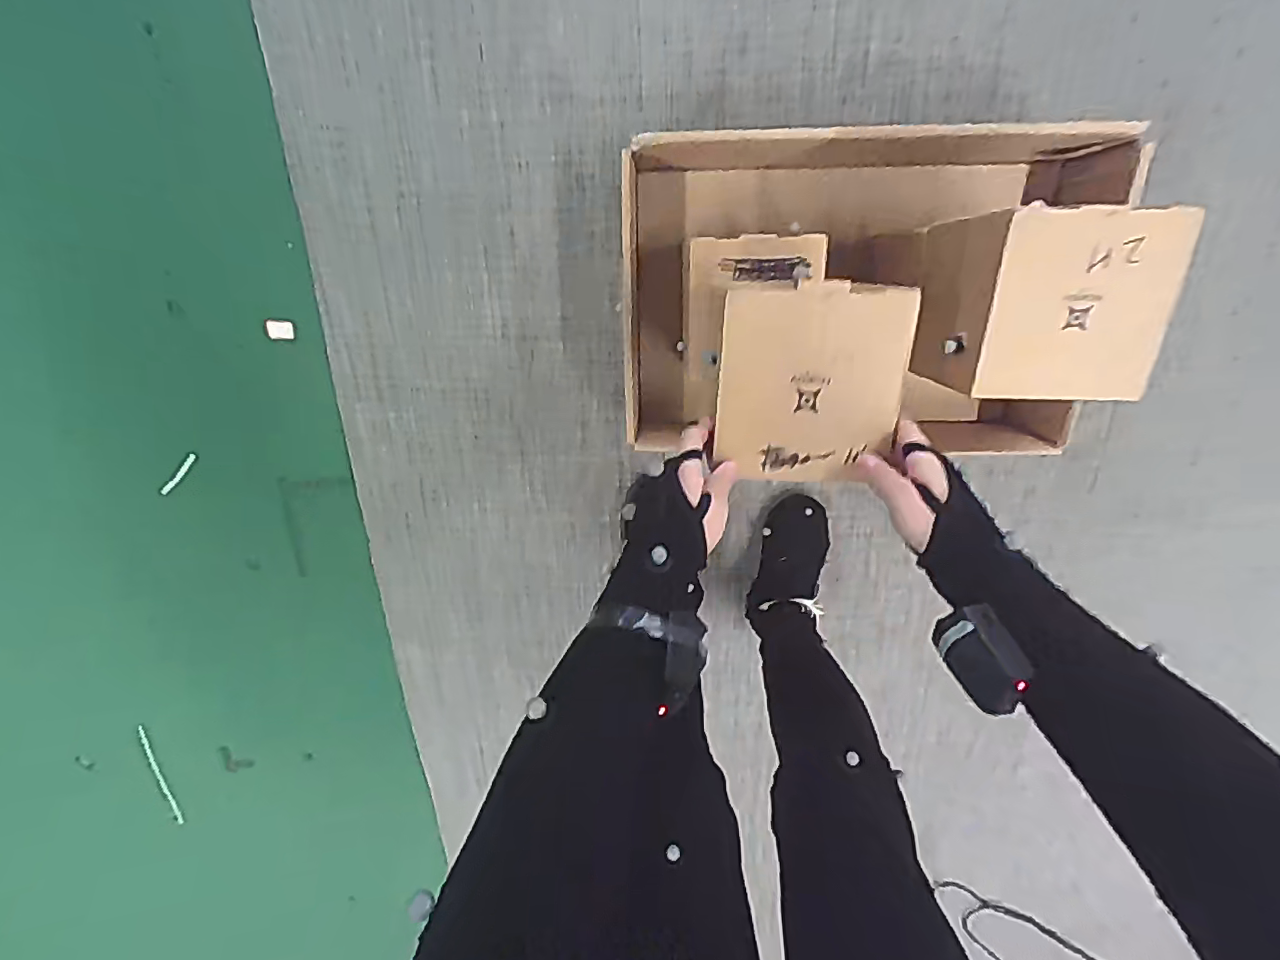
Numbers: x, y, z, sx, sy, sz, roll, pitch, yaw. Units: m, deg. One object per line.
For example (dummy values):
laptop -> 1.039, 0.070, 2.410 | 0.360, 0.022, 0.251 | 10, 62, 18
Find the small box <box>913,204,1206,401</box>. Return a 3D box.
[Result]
small box -> 0.417, -0.191, 0.580 | 0.168, 0.176, 0.179 | 2, 111, 3

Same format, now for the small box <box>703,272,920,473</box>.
small box -> 0.154, -0.119, 0.556 | 0.168, 0.176, 0.179 | 2, 112, 2

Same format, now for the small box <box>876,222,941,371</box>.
small box -> 0.425, -0.248, 0.734 | 0.168, 0.176, 0.179 | 2, 111, 3
